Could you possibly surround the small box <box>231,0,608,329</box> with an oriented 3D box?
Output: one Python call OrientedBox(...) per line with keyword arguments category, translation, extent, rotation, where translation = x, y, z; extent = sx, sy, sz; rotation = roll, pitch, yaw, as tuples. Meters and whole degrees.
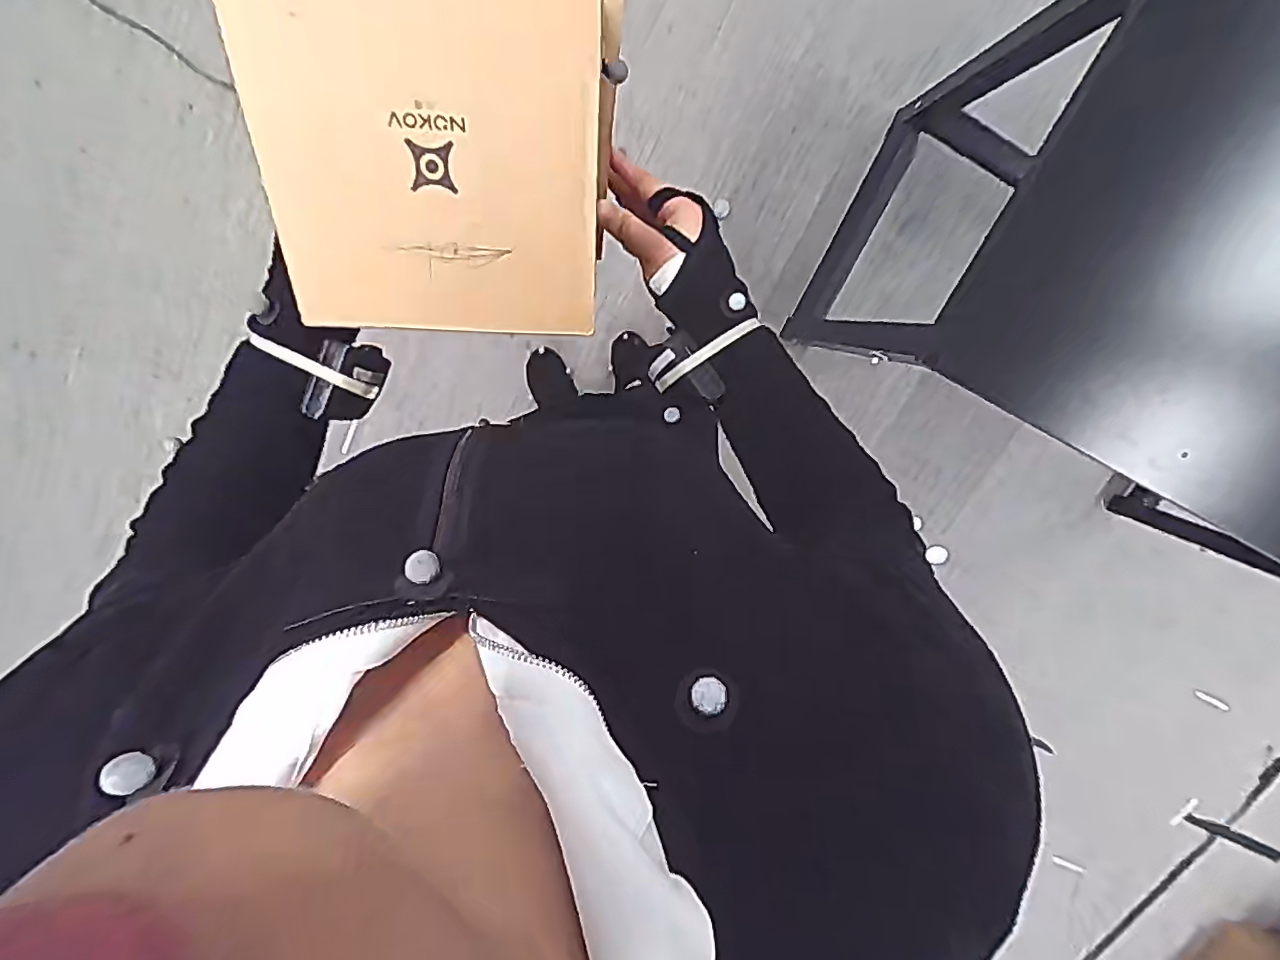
OrientedBox(category="small box", translation=(-0.107, -0.209, 0.338), extent=(0.168, 0.176, 0.179), rotation=(1, 124, -5))
